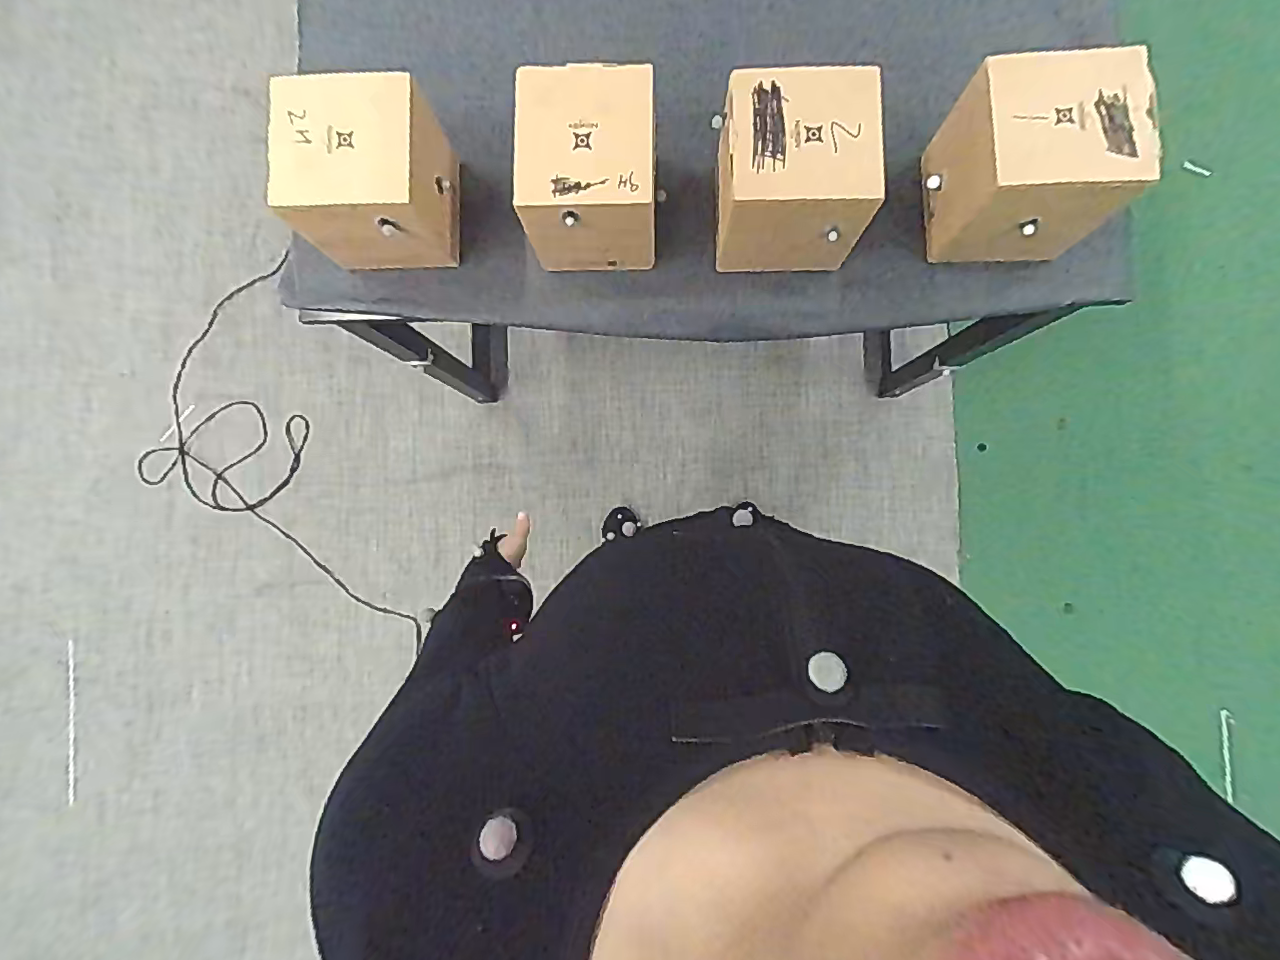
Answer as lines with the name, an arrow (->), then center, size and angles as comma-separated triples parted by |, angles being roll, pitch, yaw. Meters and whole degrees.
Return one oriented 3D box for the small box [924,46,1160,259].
small box -> 0.485, -0.395, 0.679 | 0.179, 0.176, 0.168 | 0, 83, 4
